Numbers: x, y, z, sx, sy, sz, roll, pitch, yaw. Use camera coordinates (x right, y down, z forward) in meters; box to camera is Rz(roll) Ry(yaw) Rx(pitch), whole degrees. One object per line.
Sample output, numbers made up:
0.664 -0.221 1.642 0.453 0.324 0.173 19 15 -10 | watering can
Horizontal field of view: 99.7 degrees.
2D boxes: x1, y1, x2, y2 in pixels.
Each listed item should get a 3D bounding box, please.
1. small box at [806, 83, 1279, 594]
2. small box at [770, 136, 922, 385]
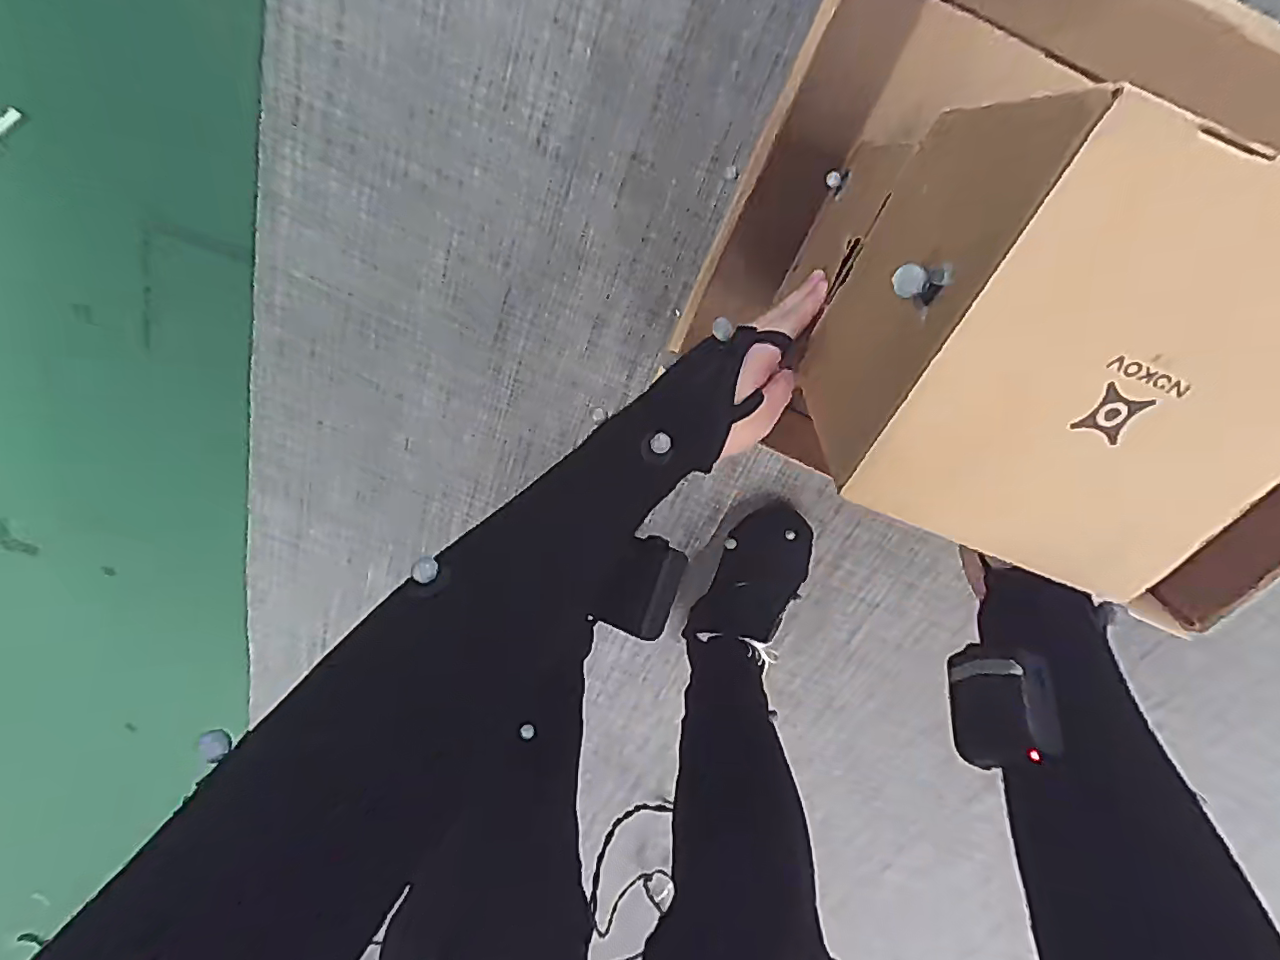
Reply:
0.207 -0.077 0.296 0.168 0.176 0.179 21 122 -4 | small box
0.222 -0.152 0.440 0.179 0.176 0.168 21 122 -6 | small box
